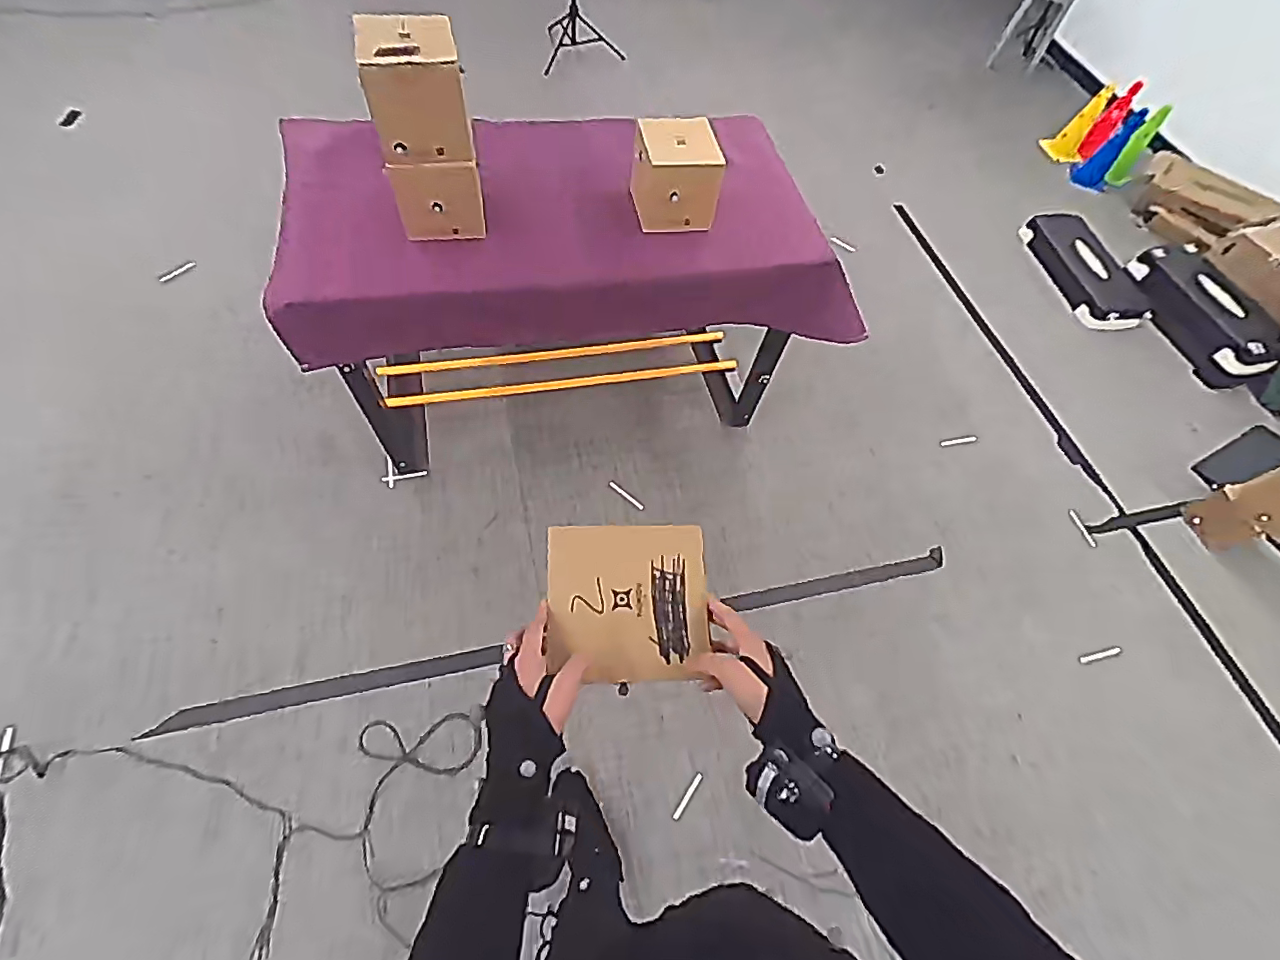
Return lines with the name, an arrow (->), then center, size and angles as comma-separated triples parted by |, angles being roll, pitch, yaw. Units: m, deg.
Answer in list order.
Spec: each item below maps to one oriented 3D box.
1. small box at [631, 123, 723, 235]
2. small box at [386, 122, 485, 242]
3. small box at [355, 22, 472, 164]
small box -> 0.078, -0.690, 1.251 | 0.168, 0.176, 0.179 | -7, 62, -10
small box -> -0.430, -0.631, 1.154 | 0.168, 0.176, 0.179 | -7, 62, -11
small box -> -0.419, -0.719, 1.015 | 0.168, 0.176, 0.179 | -11, 63, -13
